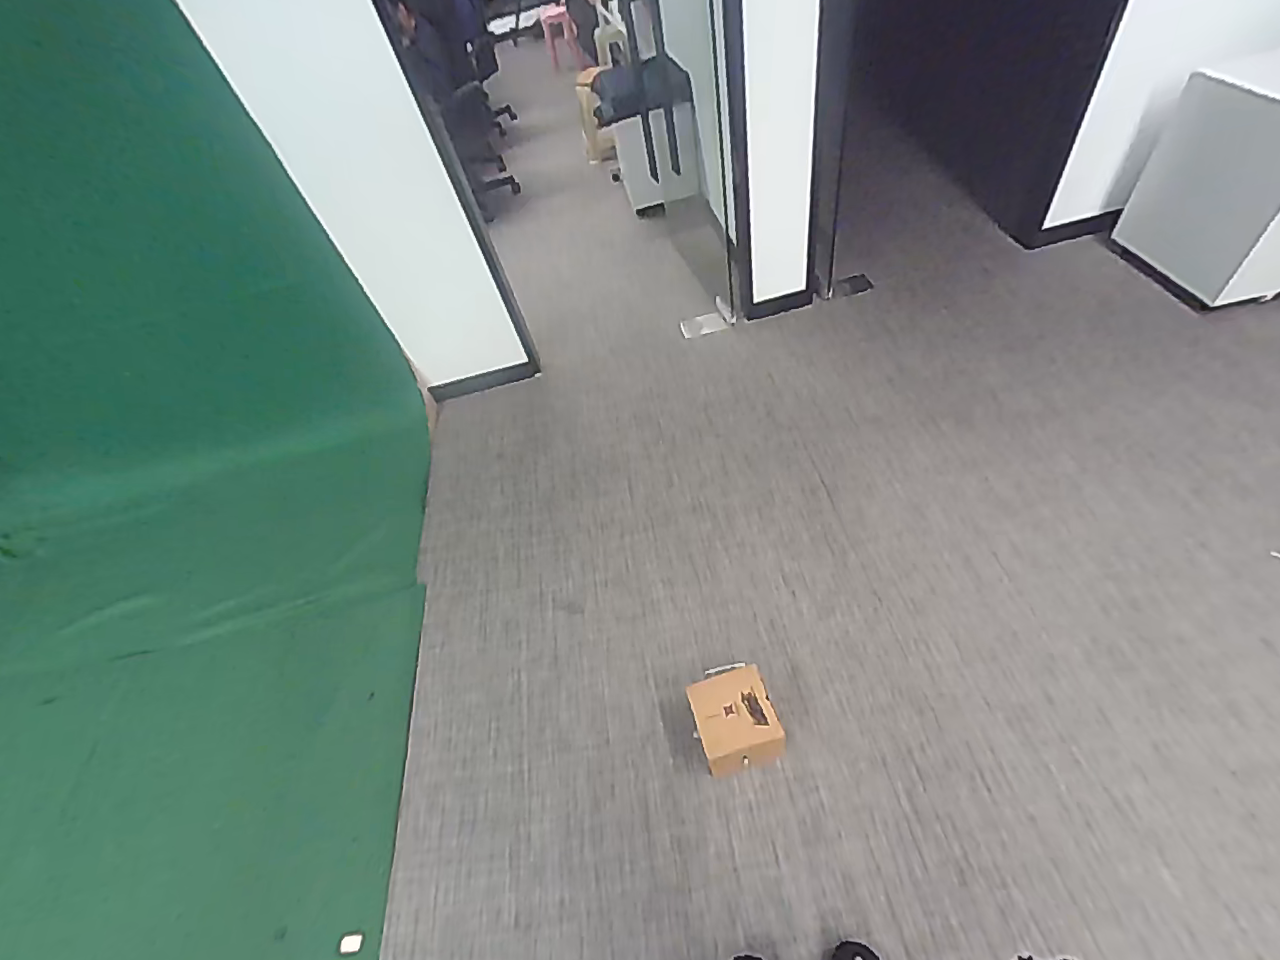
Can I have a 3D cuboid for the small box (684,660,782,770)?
[{"bbox_3d":[0.216,0.556,1.274,0.179,0.176,0.168,-20,50,-4],"label":"small box"}]
